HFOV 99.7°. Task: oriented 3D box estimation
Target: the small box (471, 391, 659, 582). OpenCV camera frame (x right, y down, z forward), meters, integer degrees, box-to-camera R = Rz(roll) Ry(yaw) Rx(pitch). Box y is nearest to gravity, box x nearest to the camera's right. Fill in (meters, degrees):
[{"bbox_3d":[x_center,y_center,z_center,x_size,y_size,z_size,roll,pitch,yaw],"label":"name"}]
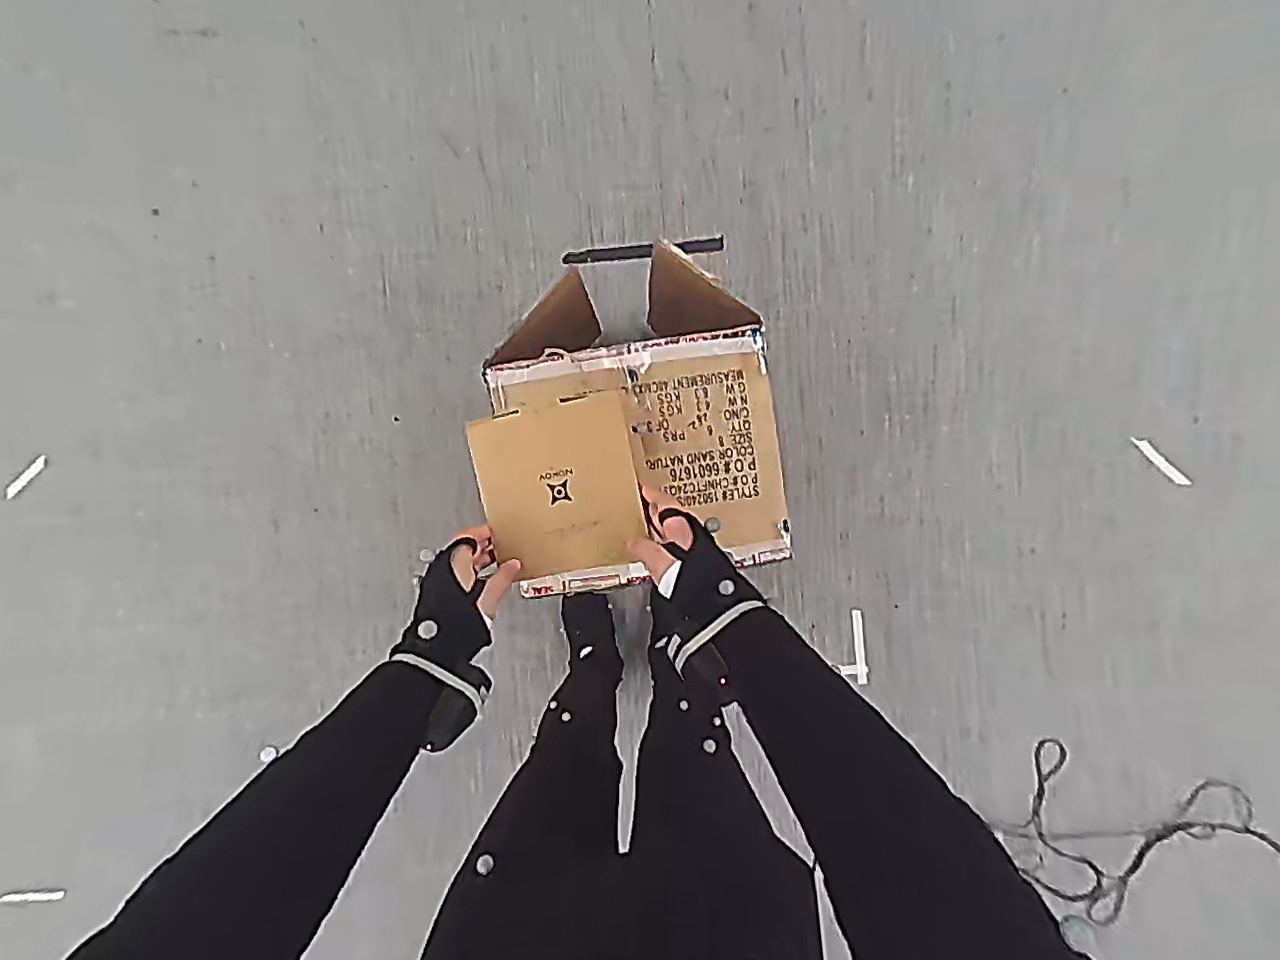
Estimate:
[{"bbox_3d":[-0.076,0.003,0.643,0.168,0.176,0.179,-13,94,6],"label":"small box"}]
